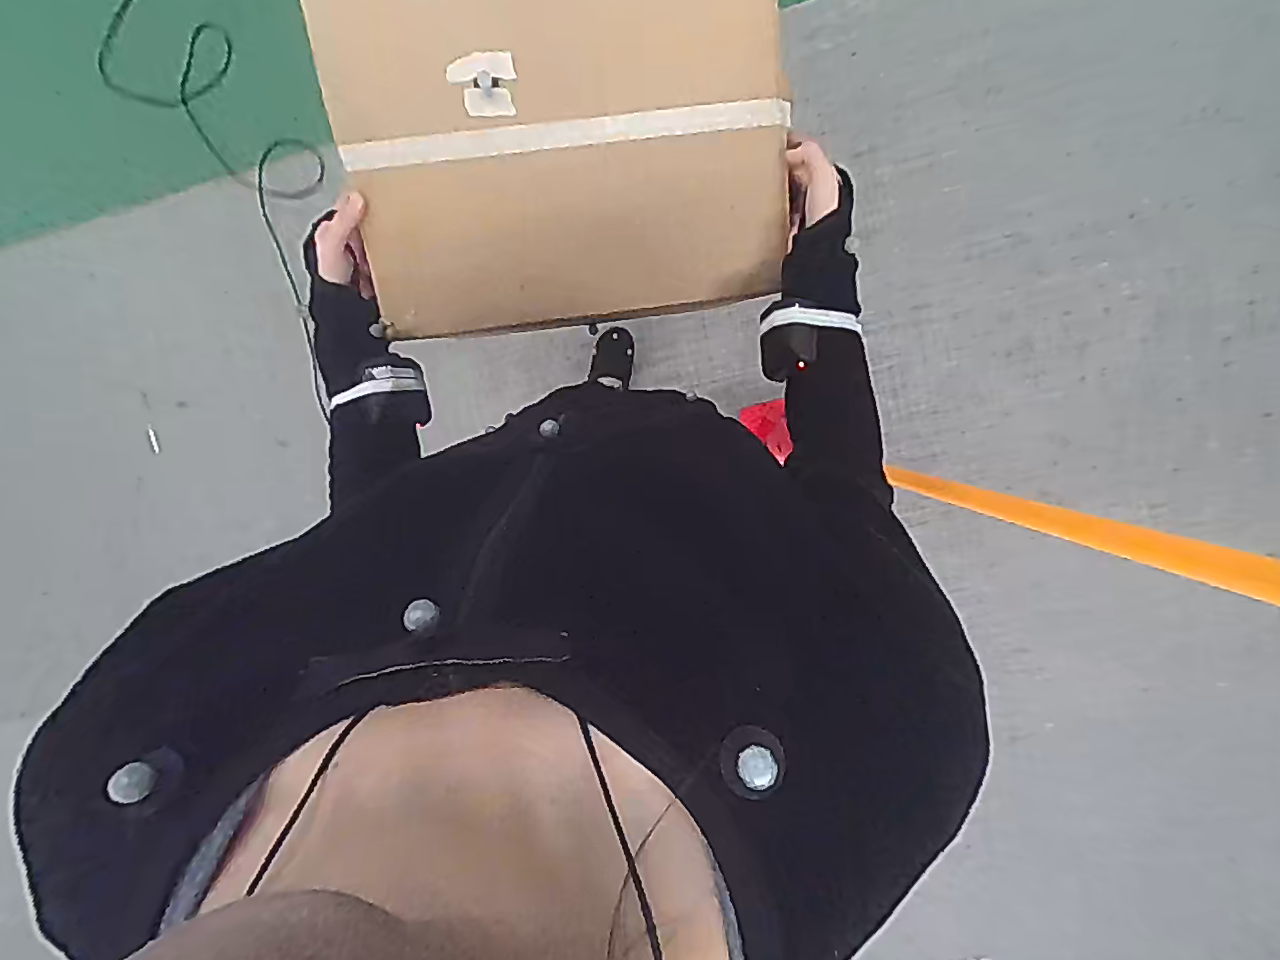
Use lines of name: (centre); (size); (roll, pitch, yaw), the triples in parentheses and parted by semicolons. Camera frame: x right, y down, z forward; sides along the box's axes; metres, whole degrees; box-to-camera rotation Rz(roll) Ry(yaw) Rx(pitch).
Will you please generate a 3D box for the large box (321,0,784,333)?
large box: (-0.075, -0.360, 0.650); (0.408, 0.320, 0.320); (-7, 106, -4)
